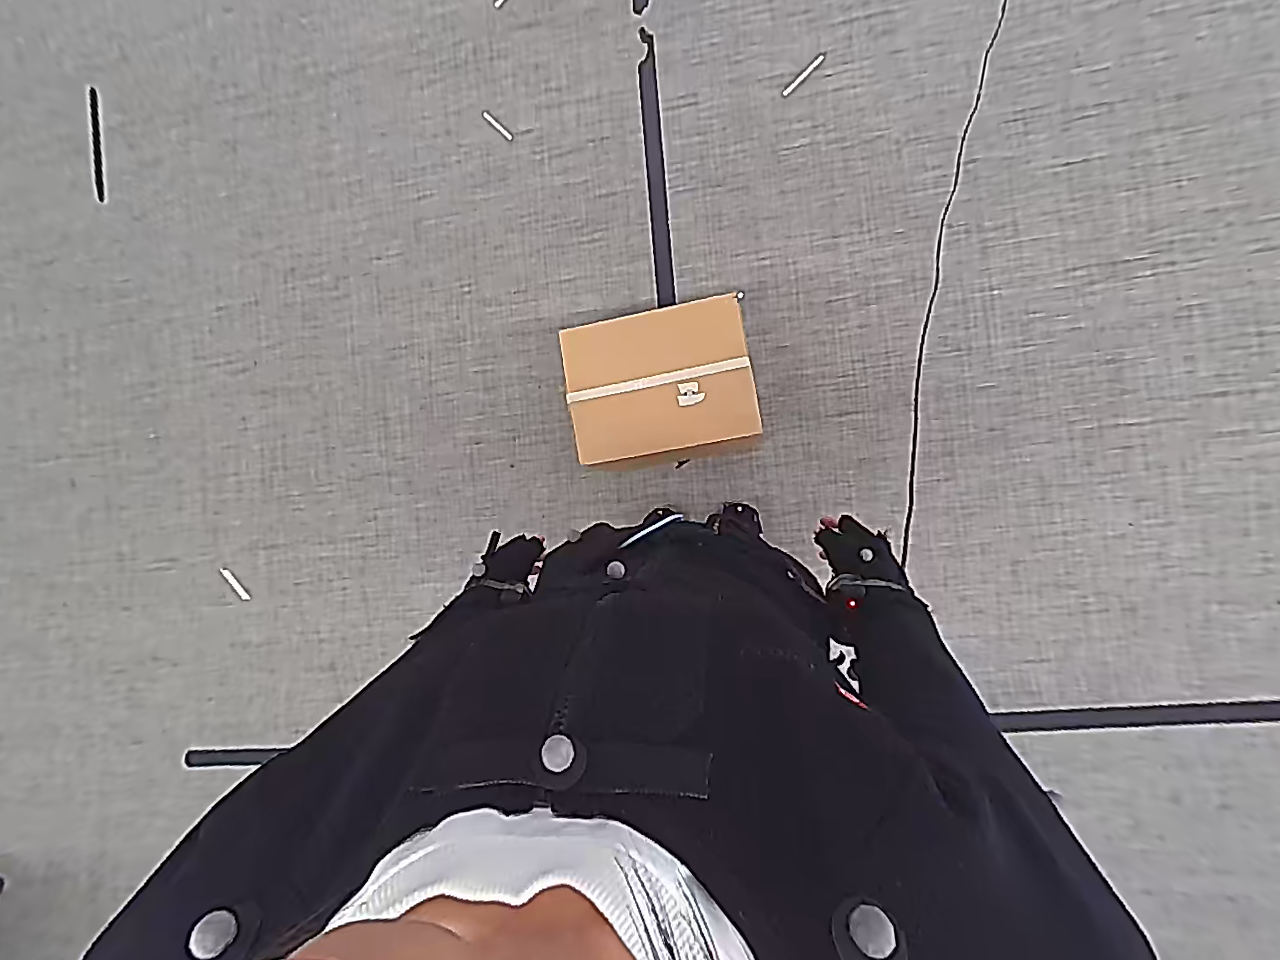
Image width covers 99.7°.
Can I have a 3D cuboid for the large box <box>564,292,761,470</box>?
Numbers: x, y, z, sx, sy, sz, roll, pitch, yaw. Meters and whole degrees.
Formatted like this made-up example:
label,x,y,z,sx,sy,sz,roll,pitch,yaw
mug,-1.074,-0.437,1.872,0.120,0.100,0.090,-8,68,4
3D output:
label,x,y,z,sx,sy,sz,roll,pitch,yaw
large box,0.064,-0.218,1.342,0.408,0.320,0.320,-10,87,8
